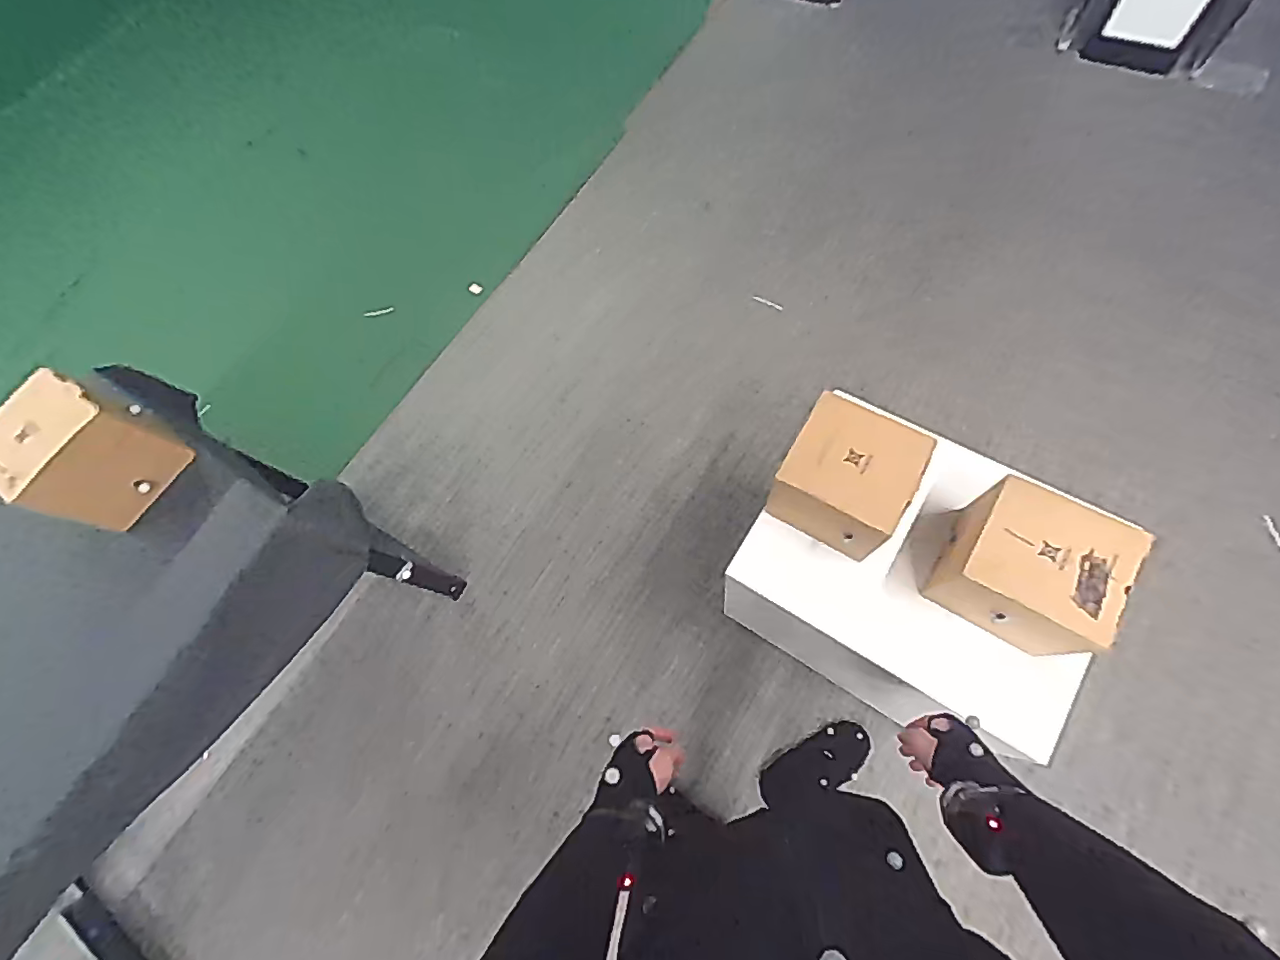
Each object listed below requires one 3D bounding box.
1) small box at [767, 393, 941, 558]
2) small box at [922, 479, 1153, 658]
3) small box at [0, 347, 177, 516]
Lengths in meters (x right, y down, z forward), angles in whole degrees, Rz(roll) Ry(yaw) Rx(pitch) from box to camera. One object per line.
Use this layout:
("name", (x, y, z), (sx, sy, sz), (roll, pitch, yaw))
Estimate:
("small box", (0.317, 0.003, 0.834), (0.179, 0.176, 0.168), (29, 73, 16))
("small box", (0.537, 0.131, 0.755), (0.179, 0.176, 0.168), (30, 75, 18))
("small box", (-0.904, -0.071, 0.867), (0.168, 0.176, 0.179), (31, 75, 17))
